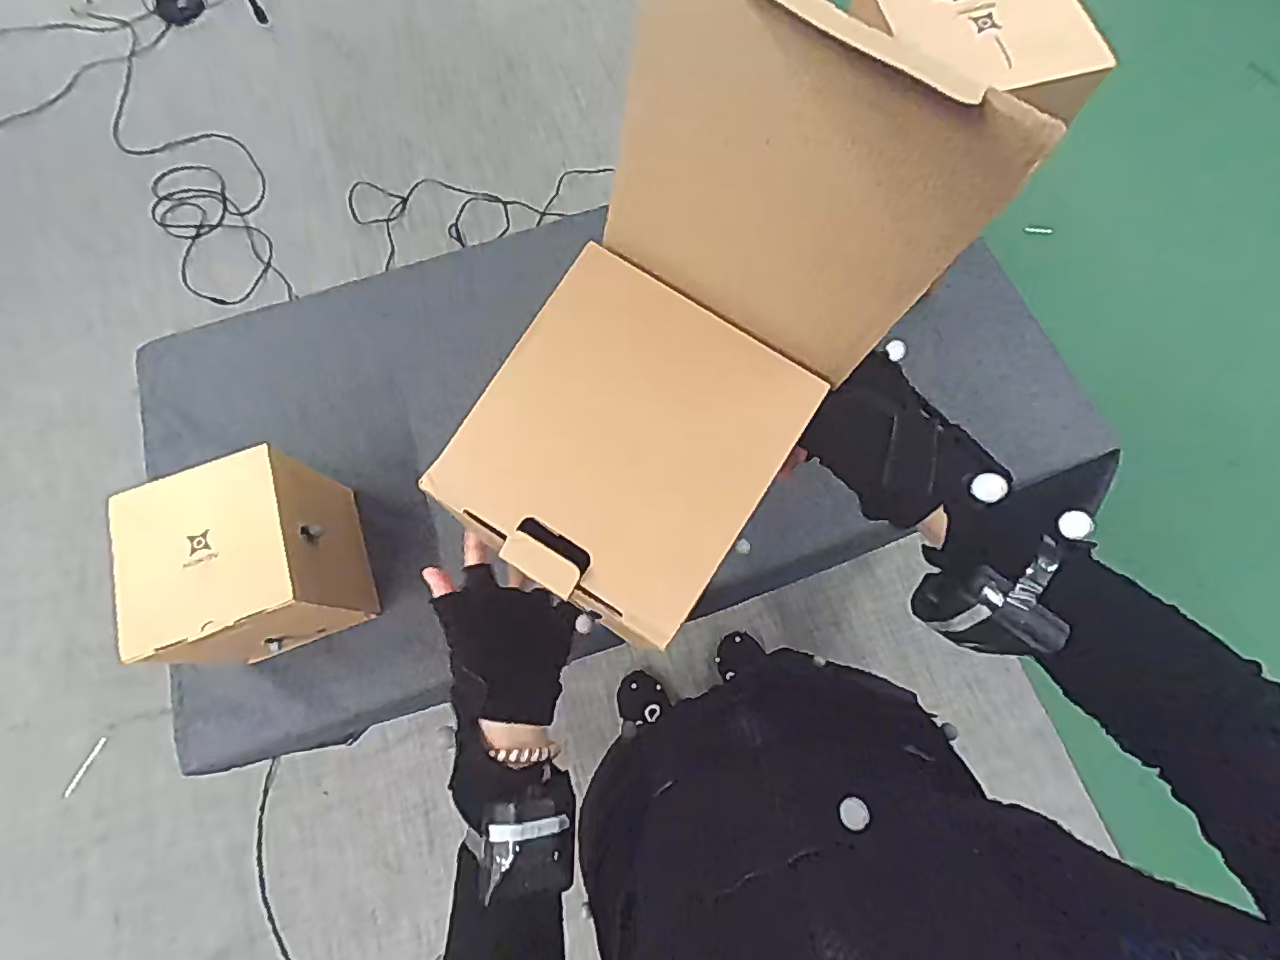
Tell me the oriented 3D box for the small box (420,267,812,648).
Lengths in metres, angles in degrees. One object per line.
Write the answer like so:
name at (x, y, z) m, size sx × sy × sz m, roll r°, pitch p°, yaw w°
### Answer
small box at (-0.014, -0.001, 0.385) m, size 0.168 × 0.176 × 0.179 m, roll 33°, pitch 74°, yaw 5°

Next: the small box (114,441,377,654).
small box at (-0.428, 0.085, 0.608) m, size 0.168 × 0.176 × 0.179 m, roll -20°, pitch 73°, yaw -4°

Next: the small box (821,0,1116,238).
small box at (0.305, -0.386, 0.551) m, size 0.168 × 0.176 × 0.179 m, roll -13°, pitch 74°, yaw -1°
